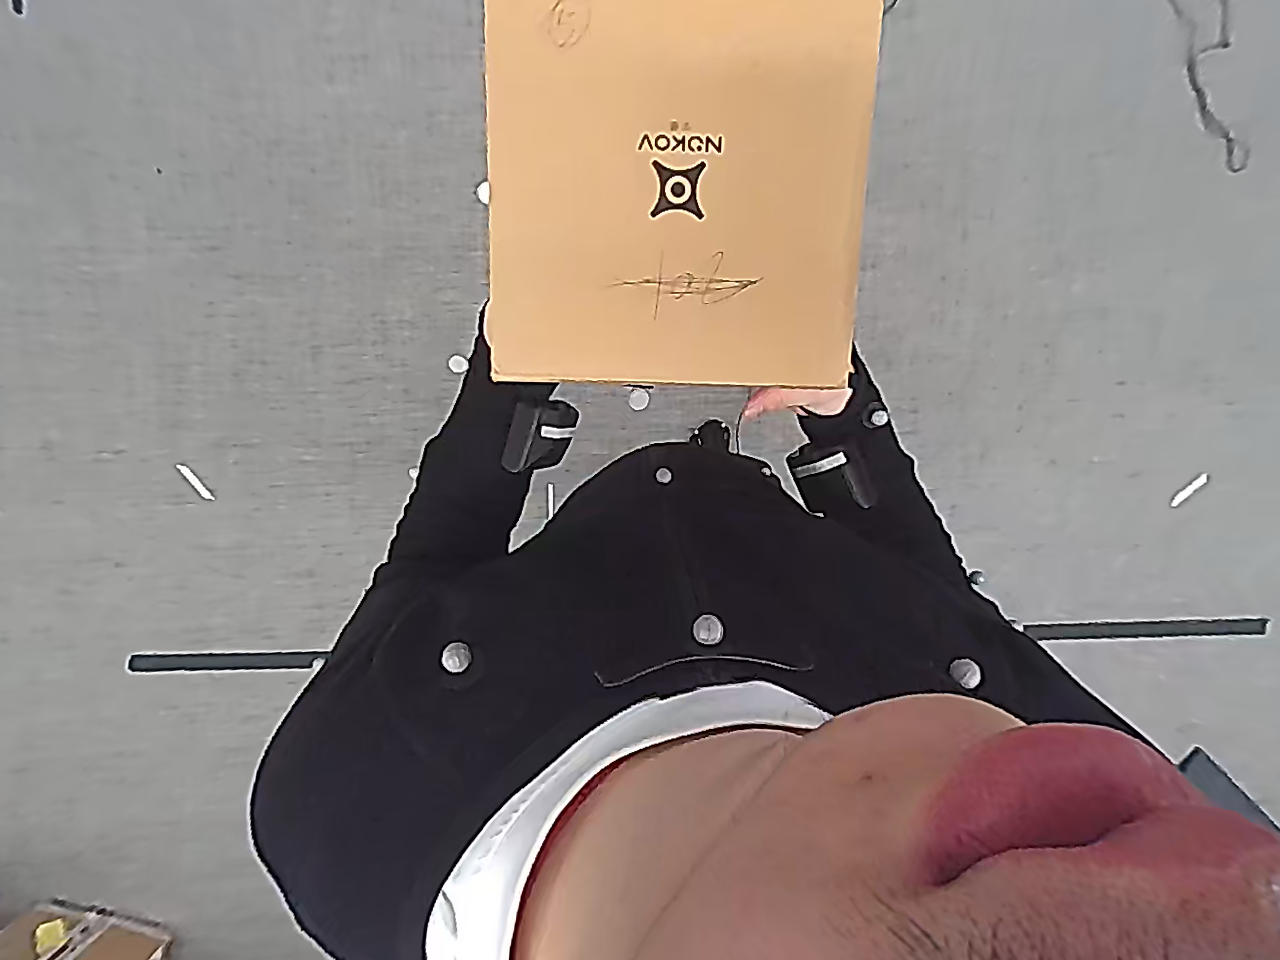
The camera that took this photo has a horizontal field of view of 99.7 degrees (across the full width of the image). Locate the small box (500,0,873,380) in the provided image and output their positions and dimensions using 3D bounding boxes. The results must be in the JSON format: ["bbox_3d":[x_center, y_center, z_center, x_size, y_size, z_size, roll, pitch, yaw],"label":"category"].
[{"bbox_3d":[0.017,-0.152,0.324,0.168,0.176,0.179,1,101,-1],"label":"small box"}]
